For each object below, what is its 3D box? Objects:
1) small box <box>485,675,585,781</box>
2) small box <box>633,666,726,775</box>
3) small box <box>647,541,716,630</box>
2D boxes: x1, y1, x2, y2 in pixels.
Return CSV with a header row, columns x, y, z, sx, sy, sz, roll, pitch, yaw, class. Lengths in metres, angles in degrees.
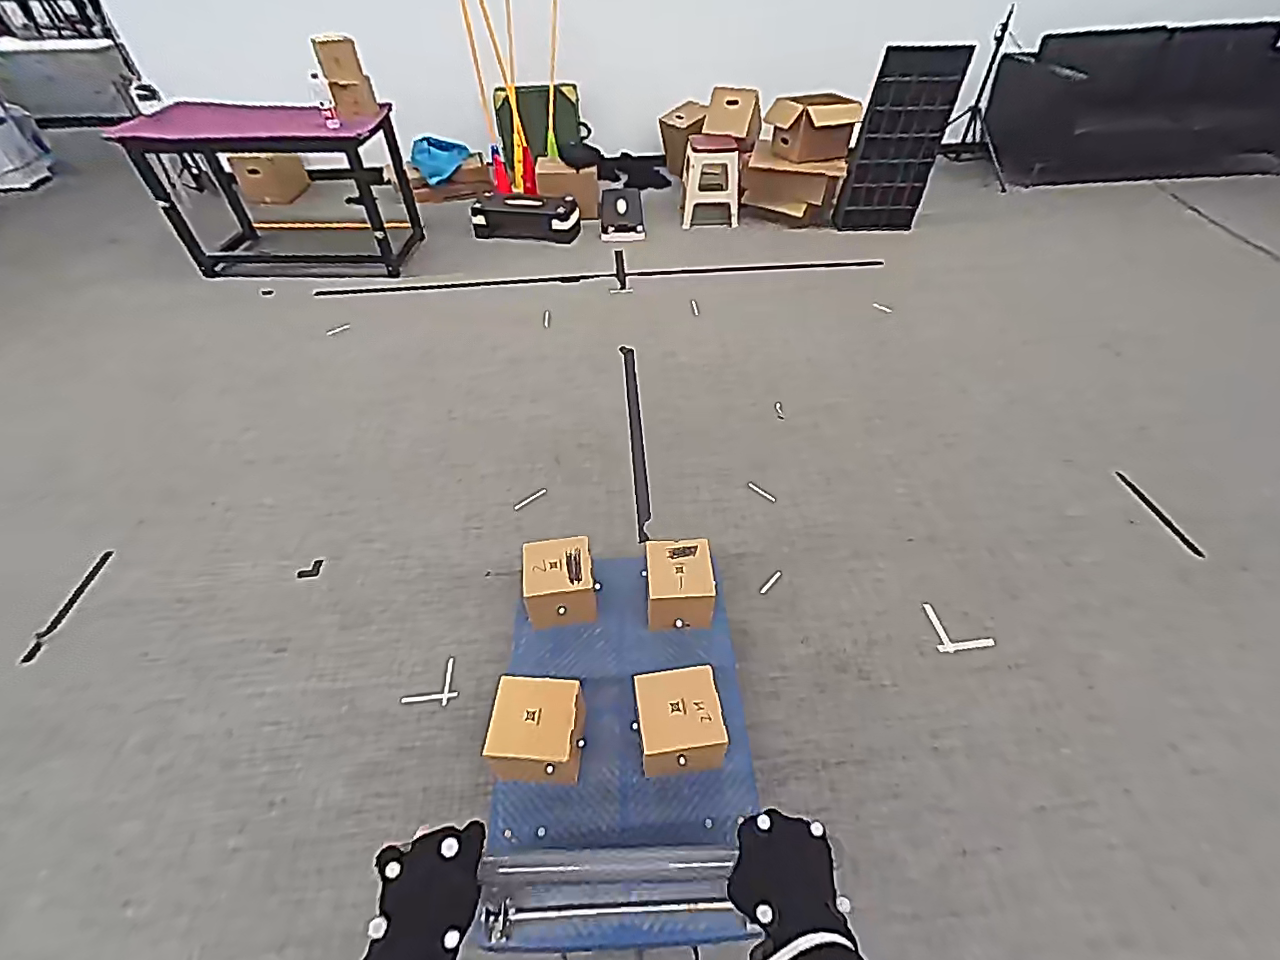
x,y,z,sx,sy,sz,roll,pitch,yaw,class
-0.223,0.551,1.198,0.179,0.176,0.168,3,47,2,small box
0.083,0.538,1.203,0.179,0.176,0.168,-6,47,-4,small box
0.104,0.282,1.443,0.168,0.176,0.179,-2,48,-1,small box
